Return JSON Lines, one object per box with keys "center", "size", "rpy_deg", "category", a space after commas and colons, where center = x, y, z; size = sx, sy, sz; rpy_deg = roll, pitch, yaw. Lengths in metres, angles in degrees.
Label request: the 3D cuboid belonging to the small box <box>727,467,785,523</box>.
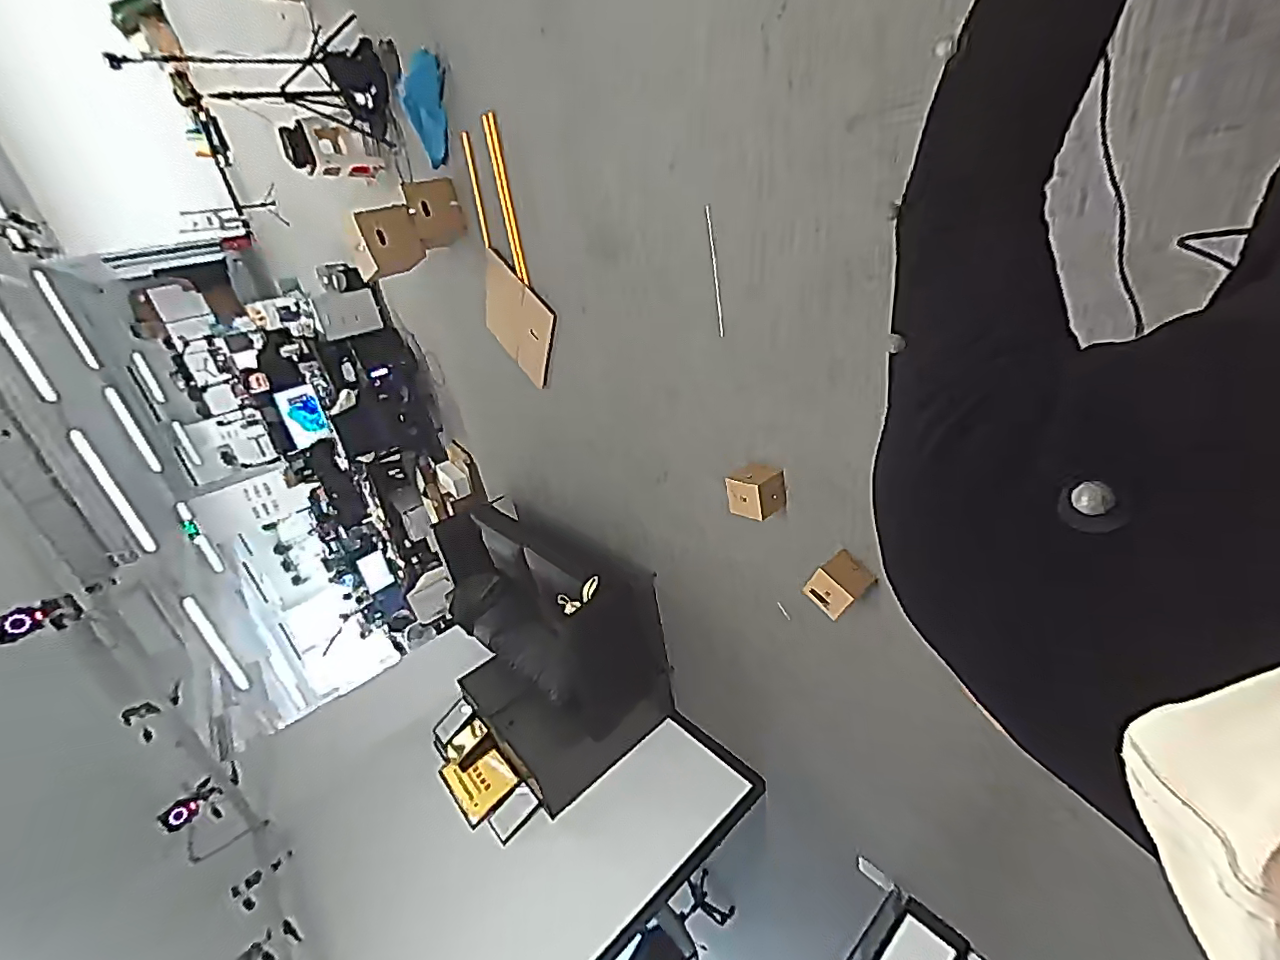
{"center": [0.496, 0.057, 2.274], "size": [0.179, 0.176, 0.168], "rpy_deg": [16, 125, 49], "category": "small box"}
